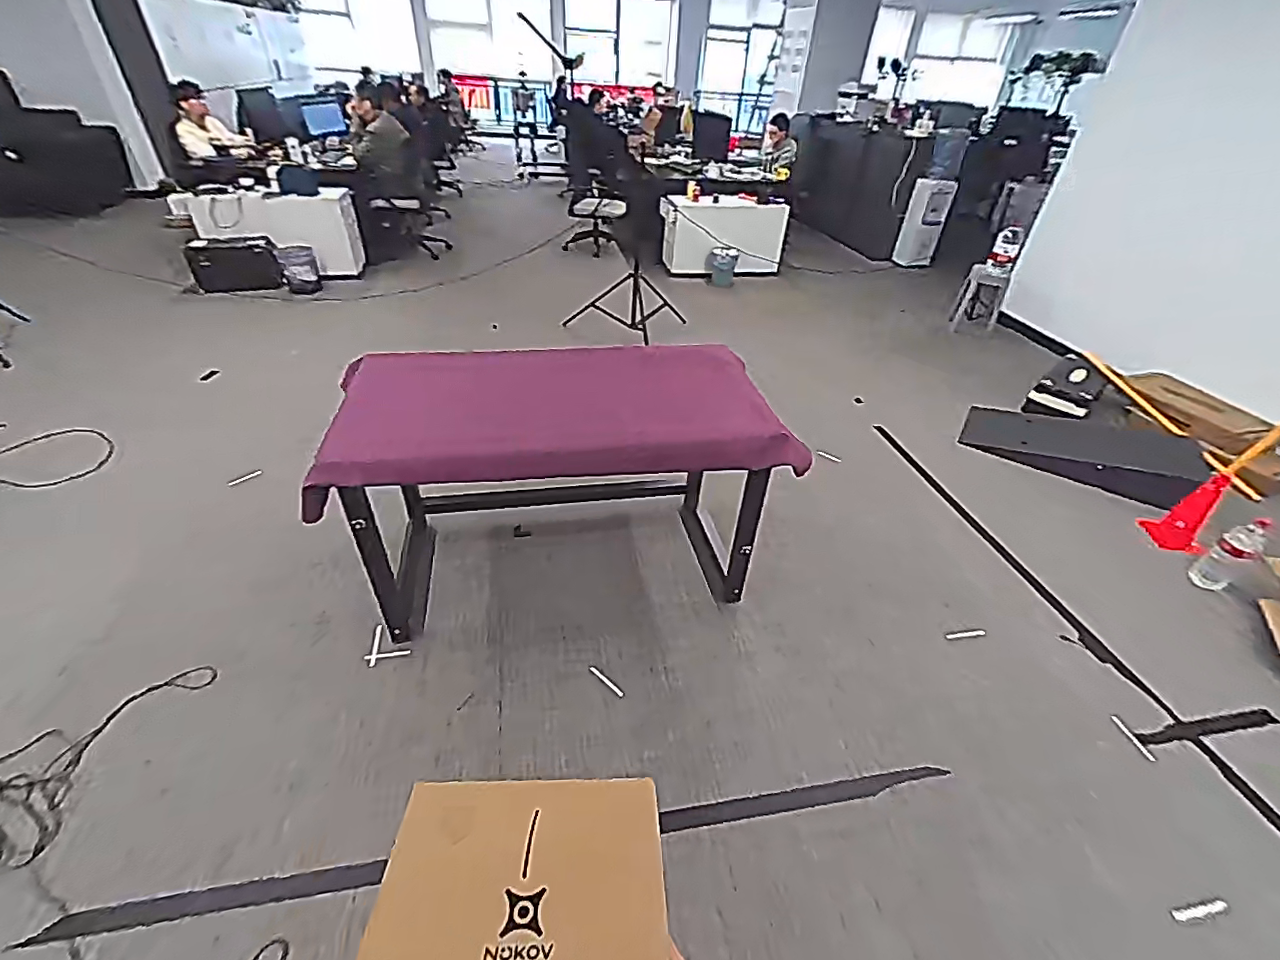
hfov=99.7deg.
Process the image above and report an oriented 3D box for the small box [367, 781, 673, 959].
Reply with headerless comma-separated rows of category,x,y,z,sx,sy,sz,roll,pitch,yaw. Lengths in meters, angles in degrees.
small box,-0.066,0.321,0.333,0.168,0.176,0.179,1,26,-4
